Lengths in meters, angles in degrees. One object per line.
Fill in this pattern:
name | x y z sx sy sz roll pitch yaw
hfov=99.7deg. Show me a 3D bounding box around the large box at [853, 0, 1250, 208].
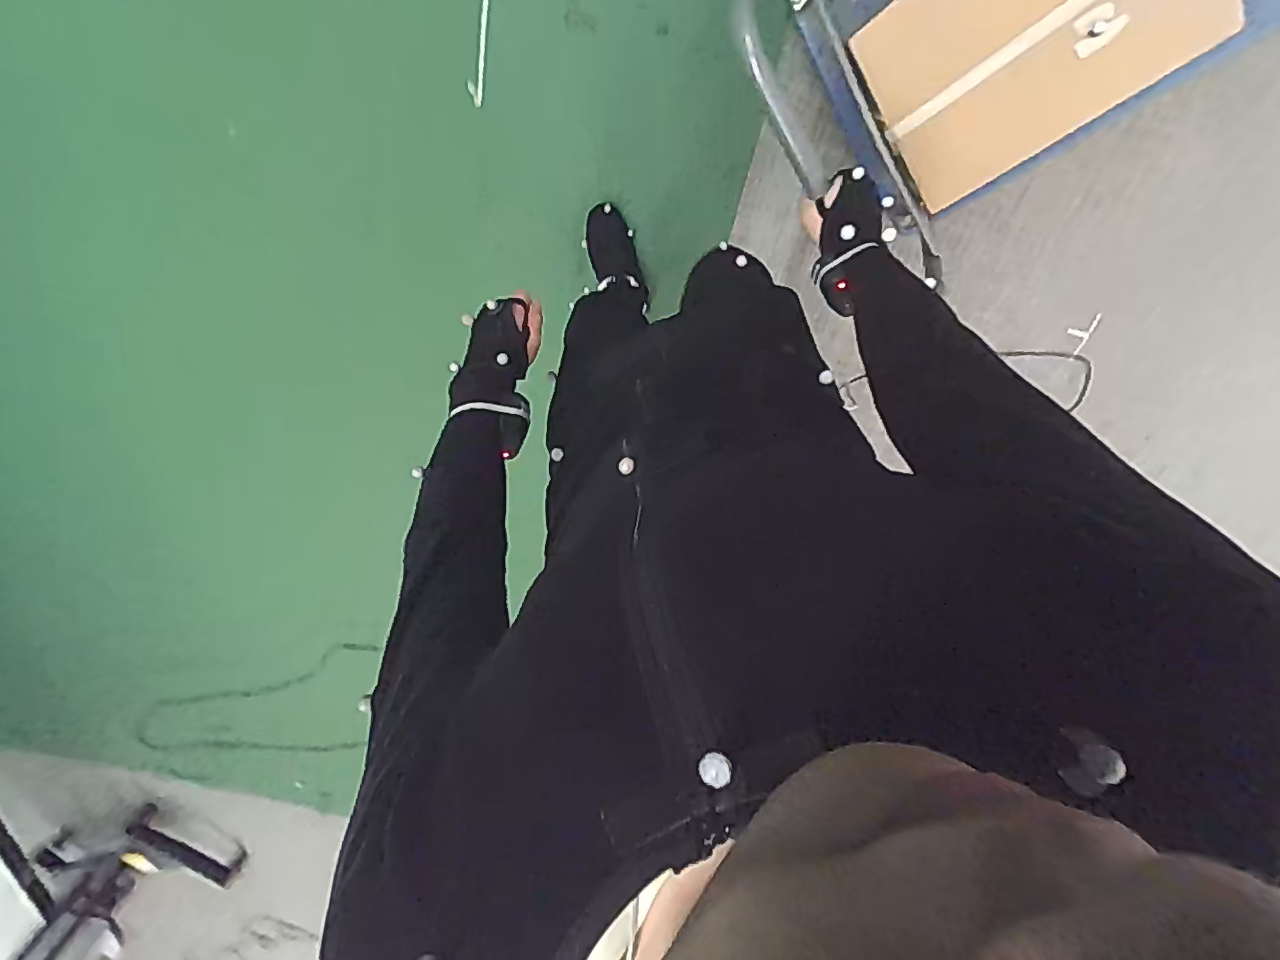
large box | 0.612 -0.735 0.888 0.408 0.320 0.320 -26 115 34
